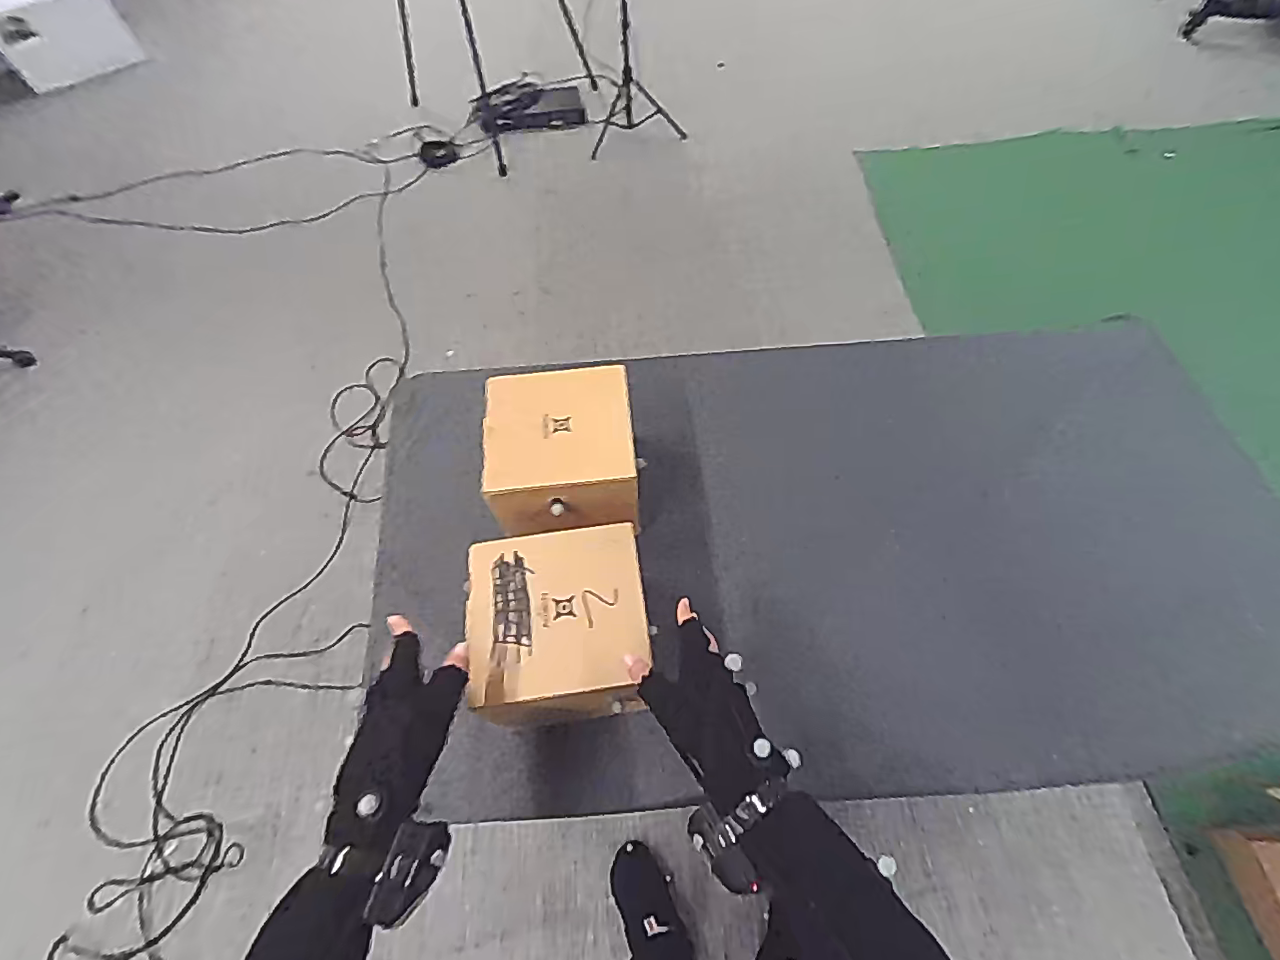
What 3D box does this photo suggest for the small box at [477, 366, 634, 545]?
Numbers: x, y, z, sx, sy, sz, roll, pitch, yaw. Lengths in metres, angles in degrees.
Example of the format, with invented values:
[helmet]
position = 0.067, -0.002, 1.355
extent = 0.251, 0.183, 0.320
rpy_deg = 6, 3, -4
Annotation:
[small box]
position = -0.101, -0.025, 0.710
extent = 0.179, 0.176, 0.168
rpy_deg = -7, 61, -1
